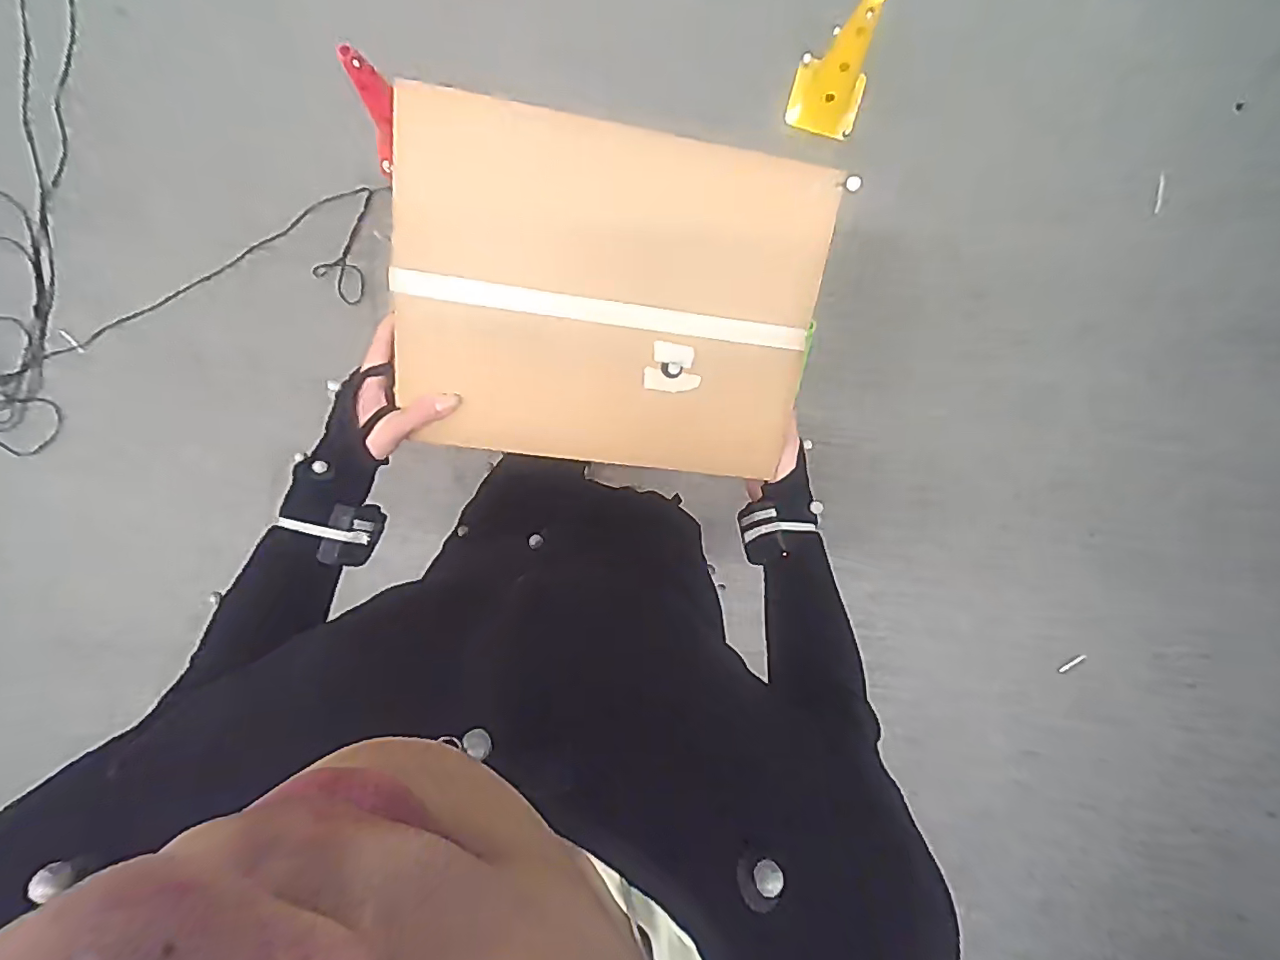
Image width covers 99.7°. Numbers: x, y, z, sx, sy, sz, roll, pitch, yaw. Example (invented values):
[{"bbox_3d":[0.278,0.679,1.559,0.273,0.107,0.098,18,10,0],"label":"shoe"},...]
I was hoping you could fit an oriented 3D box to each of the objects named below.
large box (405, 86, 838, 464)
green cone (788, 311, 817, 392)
[{"bbox_3d":[-0.043,-0.227,0.674,0.408,0.320,0.320,6,110,-10],"label":"large box"},{"bbox_3d":[0.392,-0.371,1.429,0.200,0.368,0.202,13,91,-1],"label":"green cone"}]
